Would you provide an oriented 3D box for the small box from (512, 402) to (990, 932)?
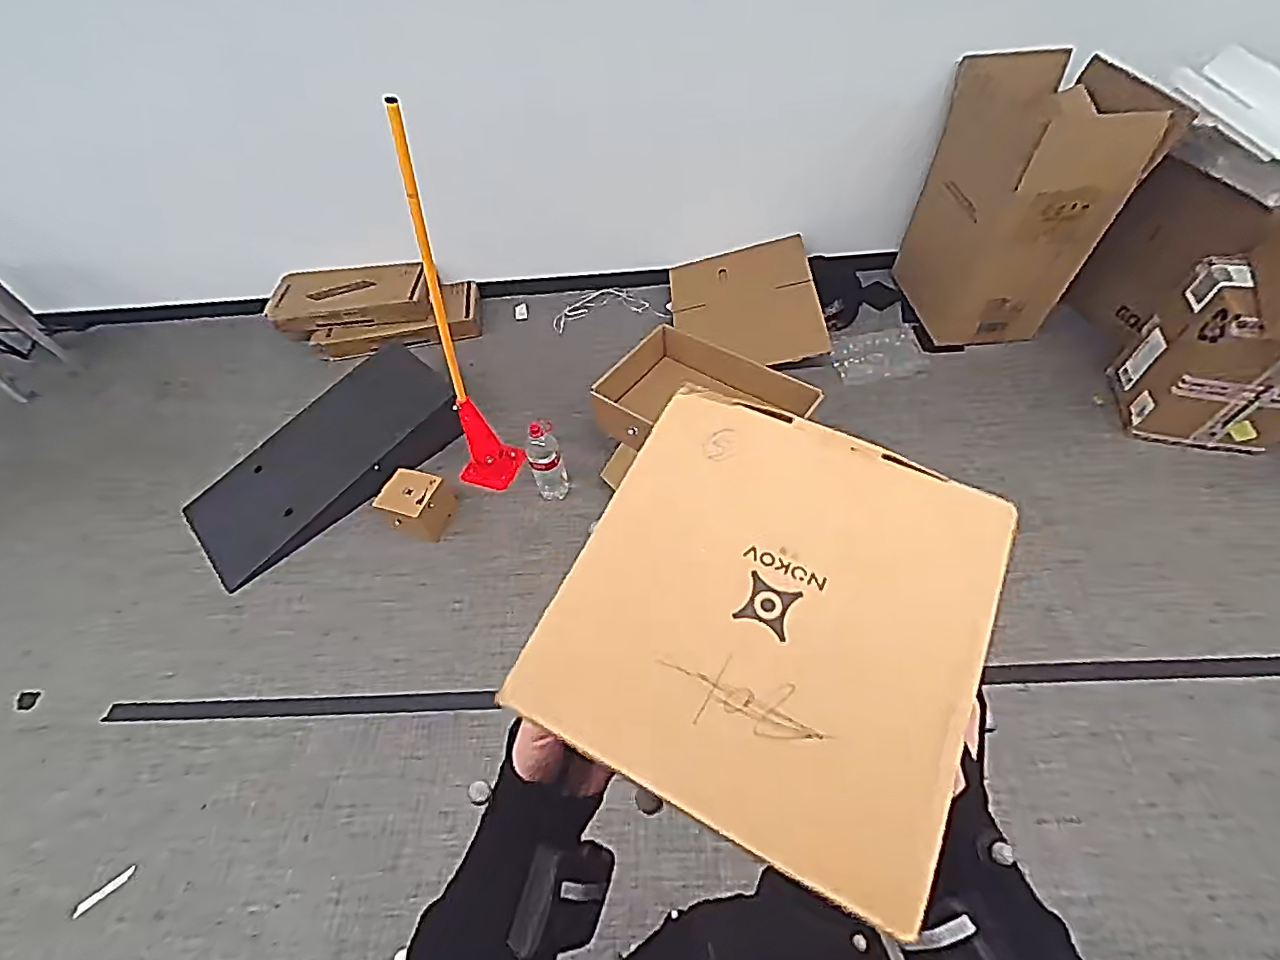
[{"bbox_3d":[0.058,0.093,0.309,0.168,0.176,0.179,22,67,15],"label":"small box"}]
